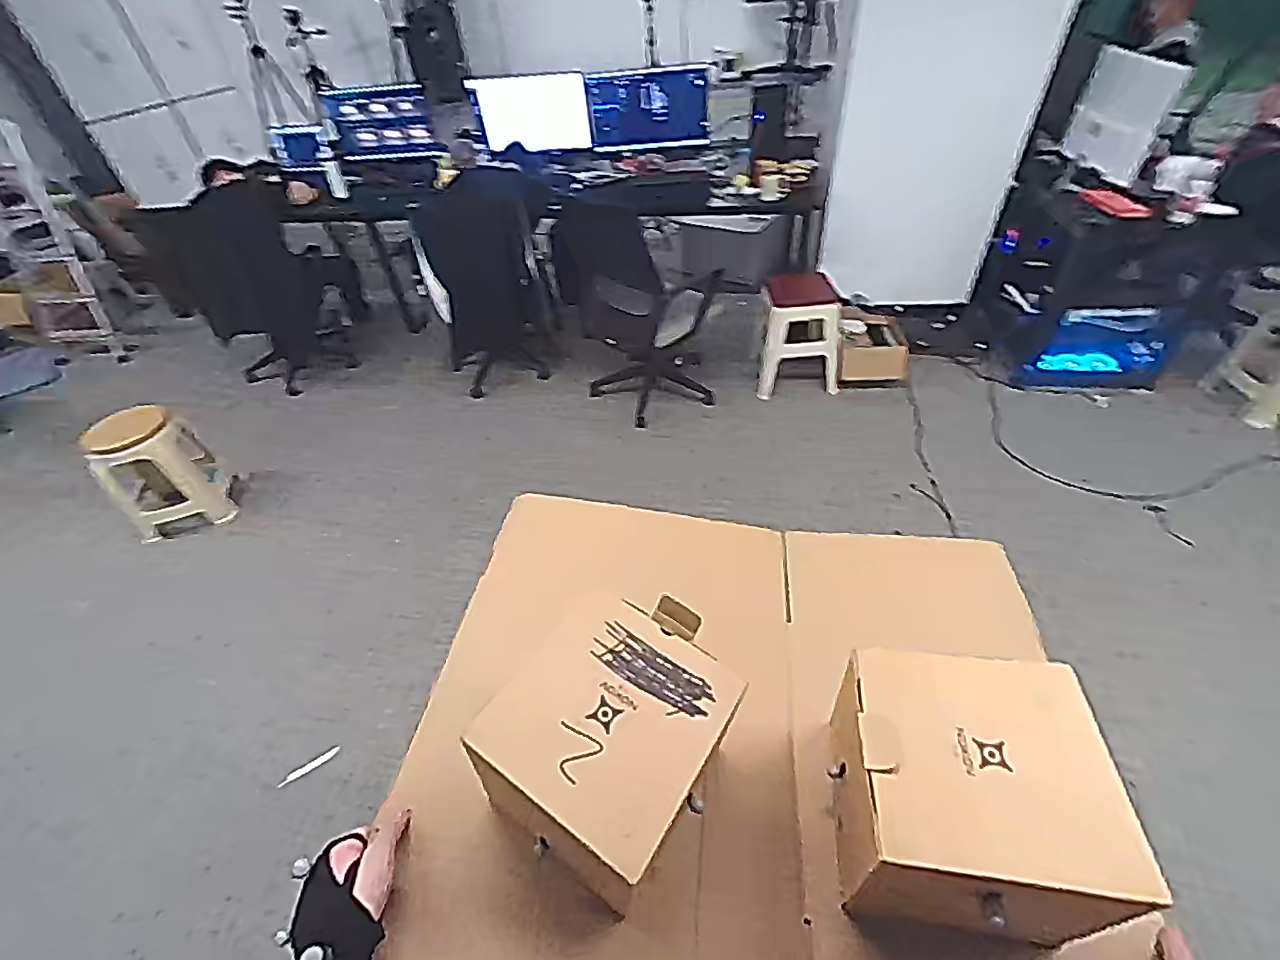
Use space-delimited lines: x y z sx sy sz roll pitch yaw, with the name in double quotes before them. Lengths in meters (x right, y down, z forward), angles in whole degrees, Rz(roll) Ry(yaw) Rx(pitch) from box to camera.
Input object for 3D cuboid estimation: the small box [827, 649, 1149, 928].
"small box" 0.274 0.273 0.482 0.179 0.176 0.168 1 43 11
